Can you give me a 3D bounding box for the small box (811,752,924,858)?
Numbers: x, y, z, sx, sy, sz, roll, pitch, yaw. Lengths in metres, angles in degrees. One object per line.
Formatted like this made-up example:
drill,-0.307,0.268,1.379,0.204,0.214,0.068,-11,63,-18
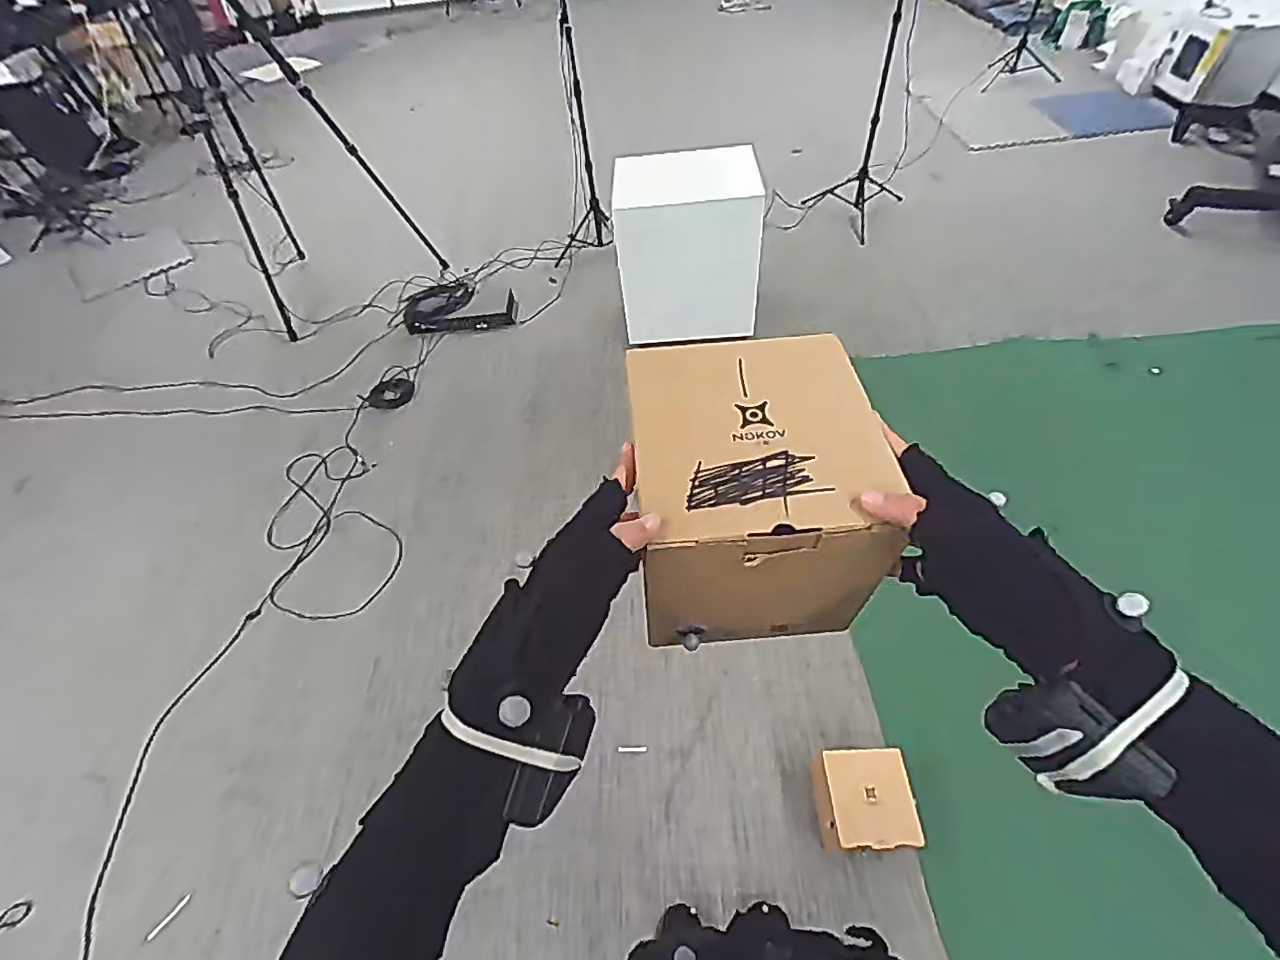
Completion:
small box,0.478,0.704,1.168,0.168,0.176,0.179,-4,52,3
